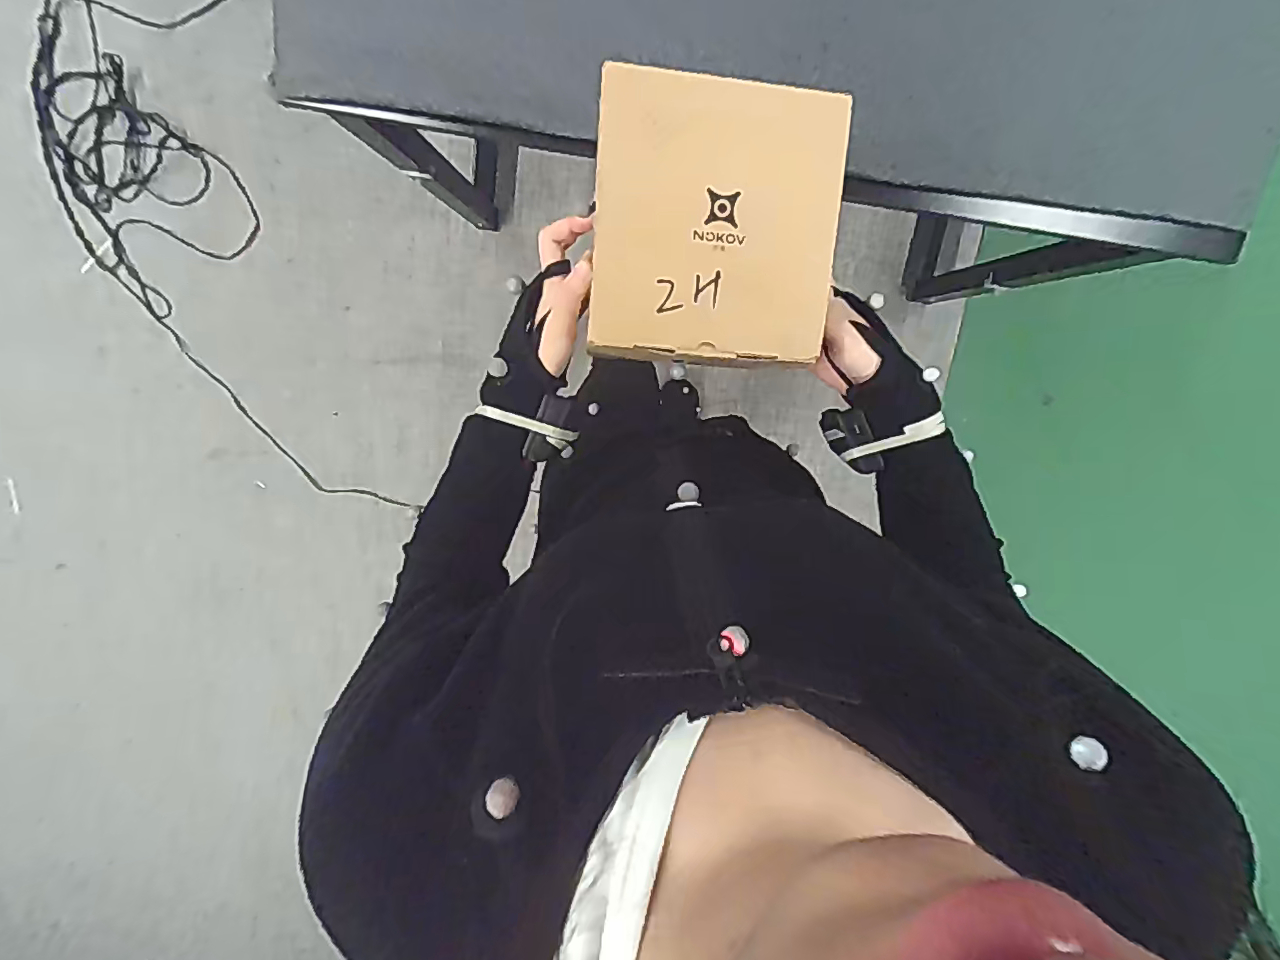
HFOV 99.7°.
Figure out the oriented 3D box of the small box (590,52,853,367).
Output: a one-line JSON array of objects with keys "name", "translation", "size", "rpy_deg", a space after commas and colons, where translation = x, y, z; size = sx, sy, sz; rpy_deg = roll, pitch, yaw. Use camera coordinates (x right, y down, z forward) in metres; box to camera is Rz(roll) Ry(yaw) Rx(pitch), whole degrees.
[{"name": "small box", "translation": [0.047, -0.190, 0.438], "size": [0.168, 0.176, 0.179], "rpy_deg": [3, 99, -5]}]
